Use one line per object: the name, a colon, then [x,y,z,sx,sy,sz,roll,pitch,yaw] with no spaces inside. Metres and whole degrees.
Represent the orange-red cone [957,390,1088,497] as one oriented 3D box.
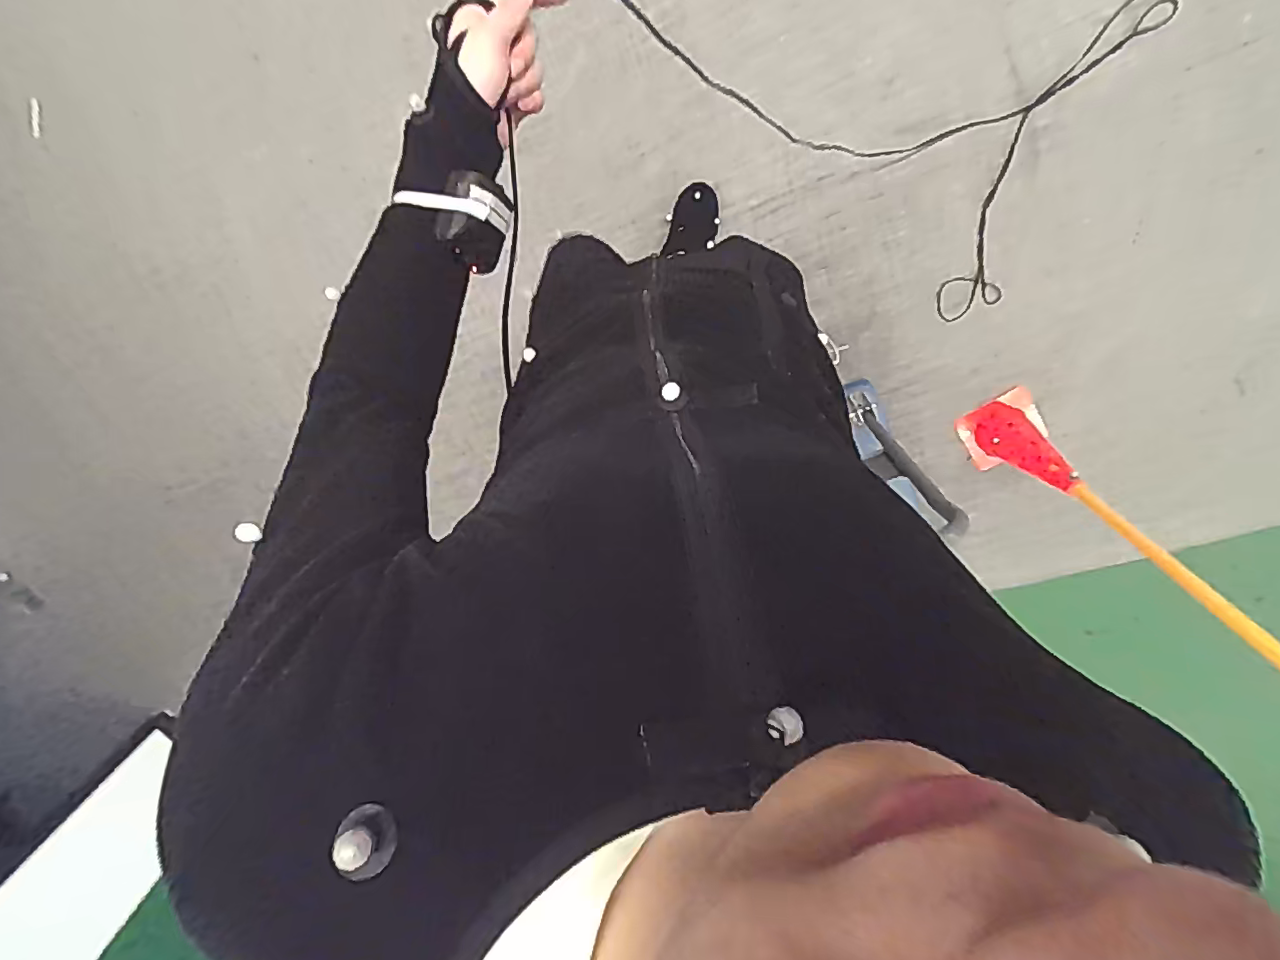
orange-red cone: [1.024,-0.061,1.398,0.199,0.360,0.198,-32,112,18]
